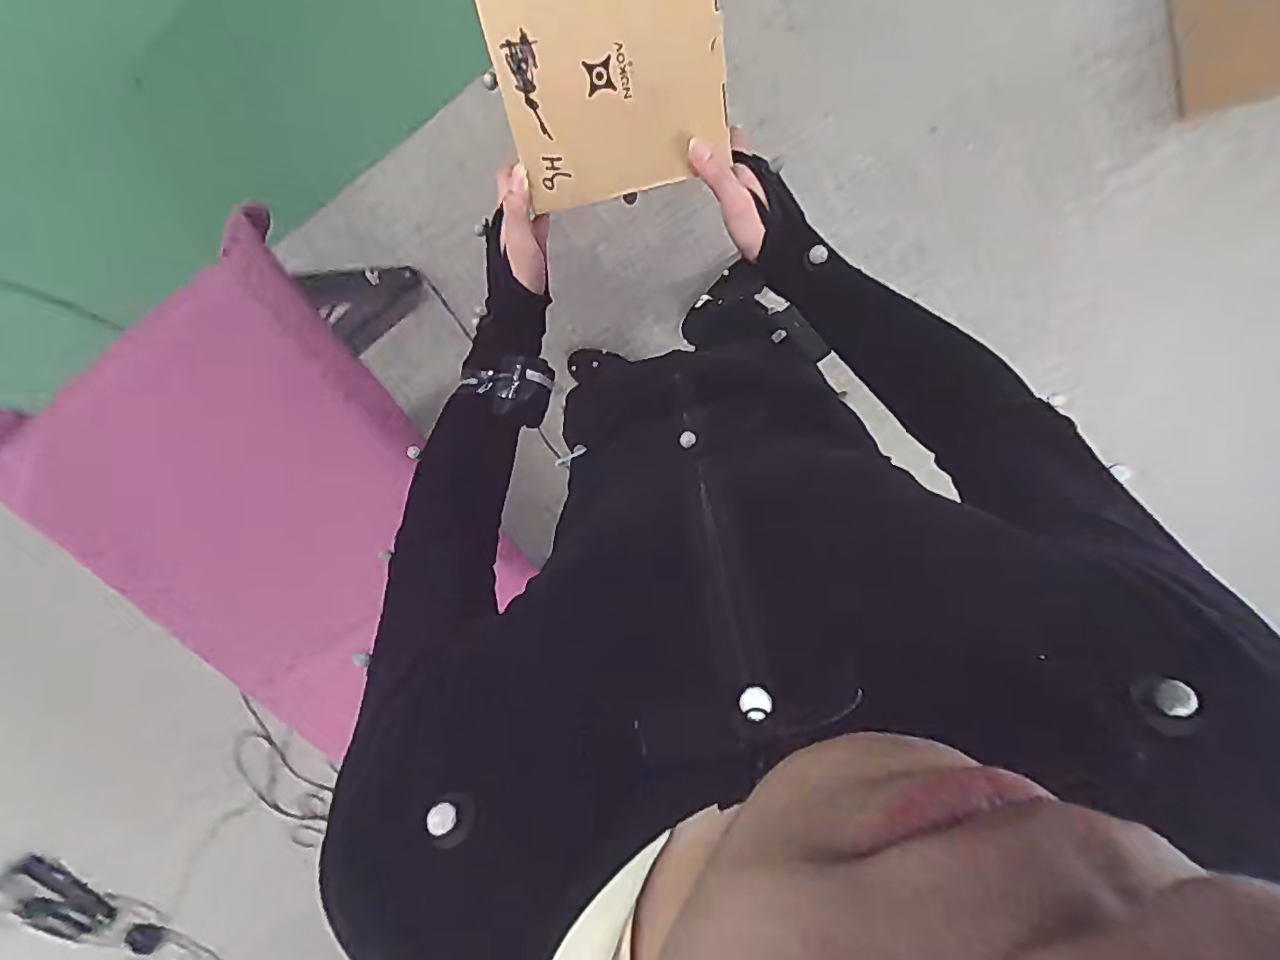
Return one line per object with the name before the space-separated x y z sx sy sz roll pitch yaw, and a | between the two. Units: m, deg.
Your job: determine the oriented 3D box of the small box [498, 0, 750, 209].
small box | -0.013 -0.352 0.479 0.179 0.176 0.168 -11 120 2
